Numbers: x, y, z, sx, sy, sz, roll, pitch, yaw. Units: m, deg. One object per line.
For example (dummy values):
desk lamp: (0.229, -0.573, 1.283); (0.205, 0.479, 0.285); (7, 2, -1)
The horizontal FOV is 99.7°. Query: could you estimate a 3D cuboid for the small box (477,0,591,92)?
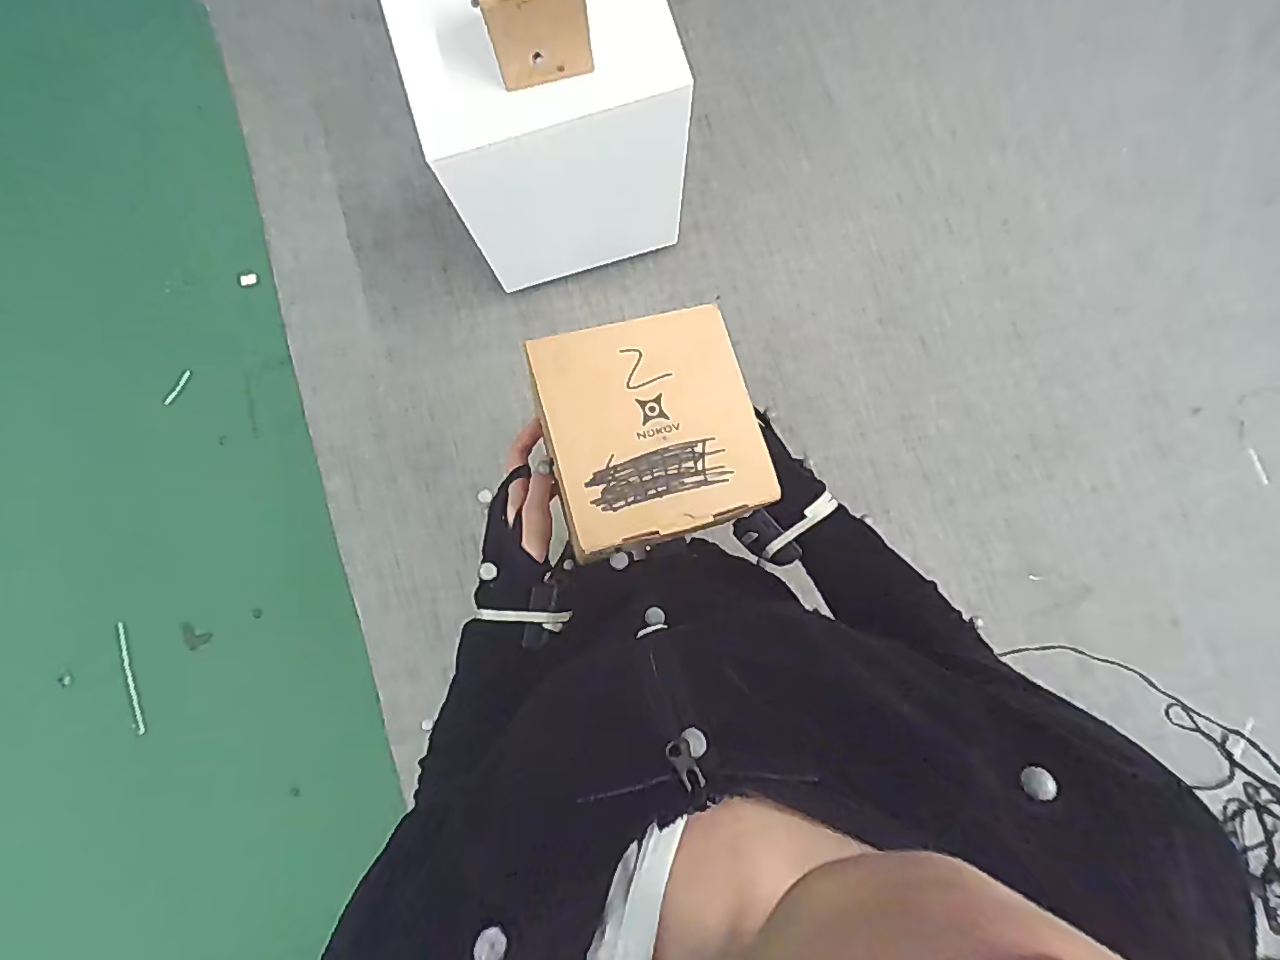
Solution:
small box: (-0.186, -0.809, 0.908); (0.168, 0.176, 0.179); (-15, 85, 0)
